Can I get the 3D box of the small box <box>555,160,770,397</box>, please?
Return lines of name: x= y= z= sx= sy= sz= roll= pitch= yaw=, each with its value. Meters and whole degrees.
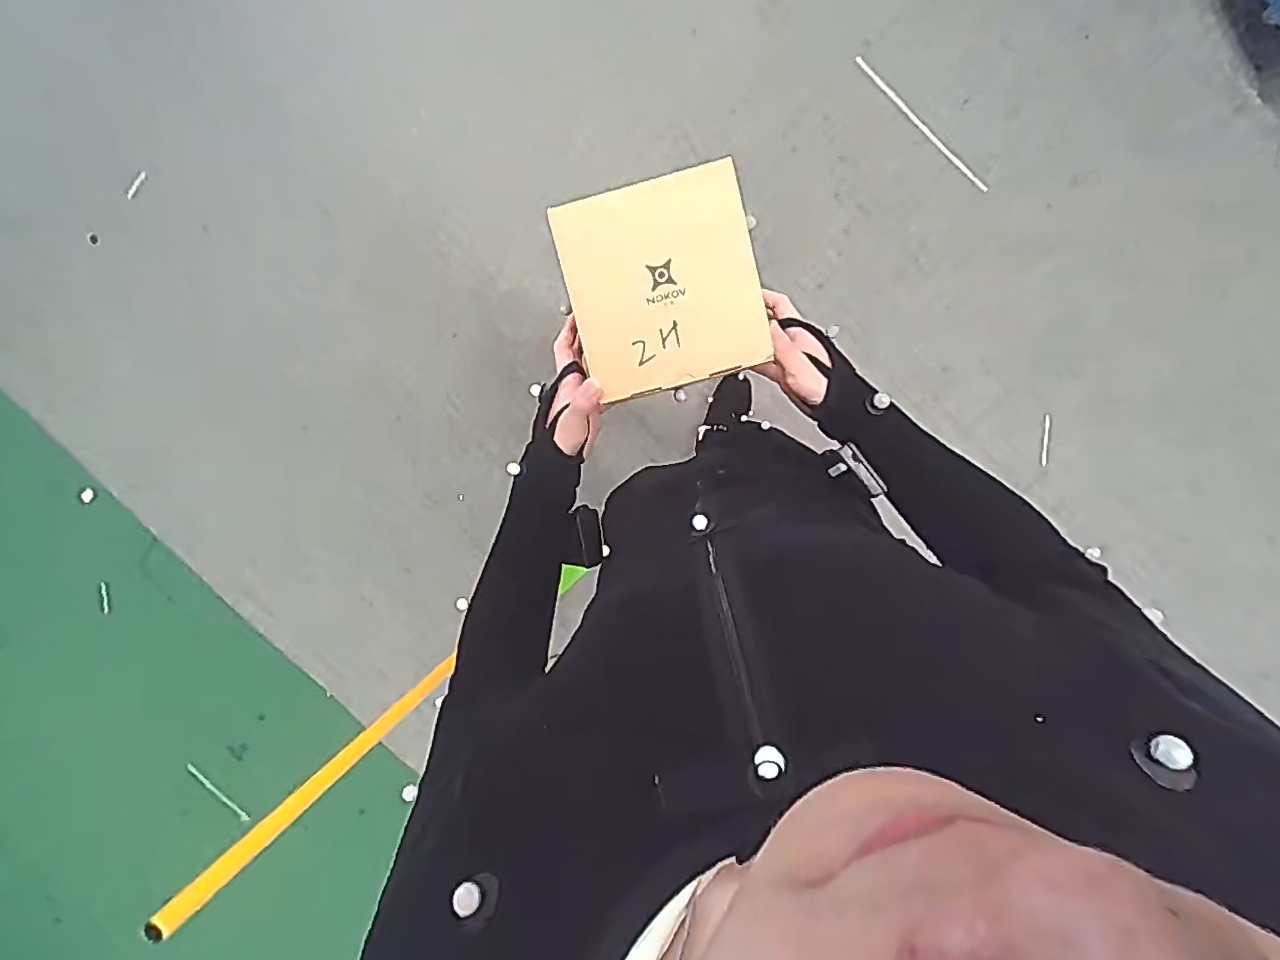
small box: x=0.022 y=-0.187 z=0.559 sx=0.168 sy=0.176 sz=0.179 roll=-13 pitch=98 yaw=3
